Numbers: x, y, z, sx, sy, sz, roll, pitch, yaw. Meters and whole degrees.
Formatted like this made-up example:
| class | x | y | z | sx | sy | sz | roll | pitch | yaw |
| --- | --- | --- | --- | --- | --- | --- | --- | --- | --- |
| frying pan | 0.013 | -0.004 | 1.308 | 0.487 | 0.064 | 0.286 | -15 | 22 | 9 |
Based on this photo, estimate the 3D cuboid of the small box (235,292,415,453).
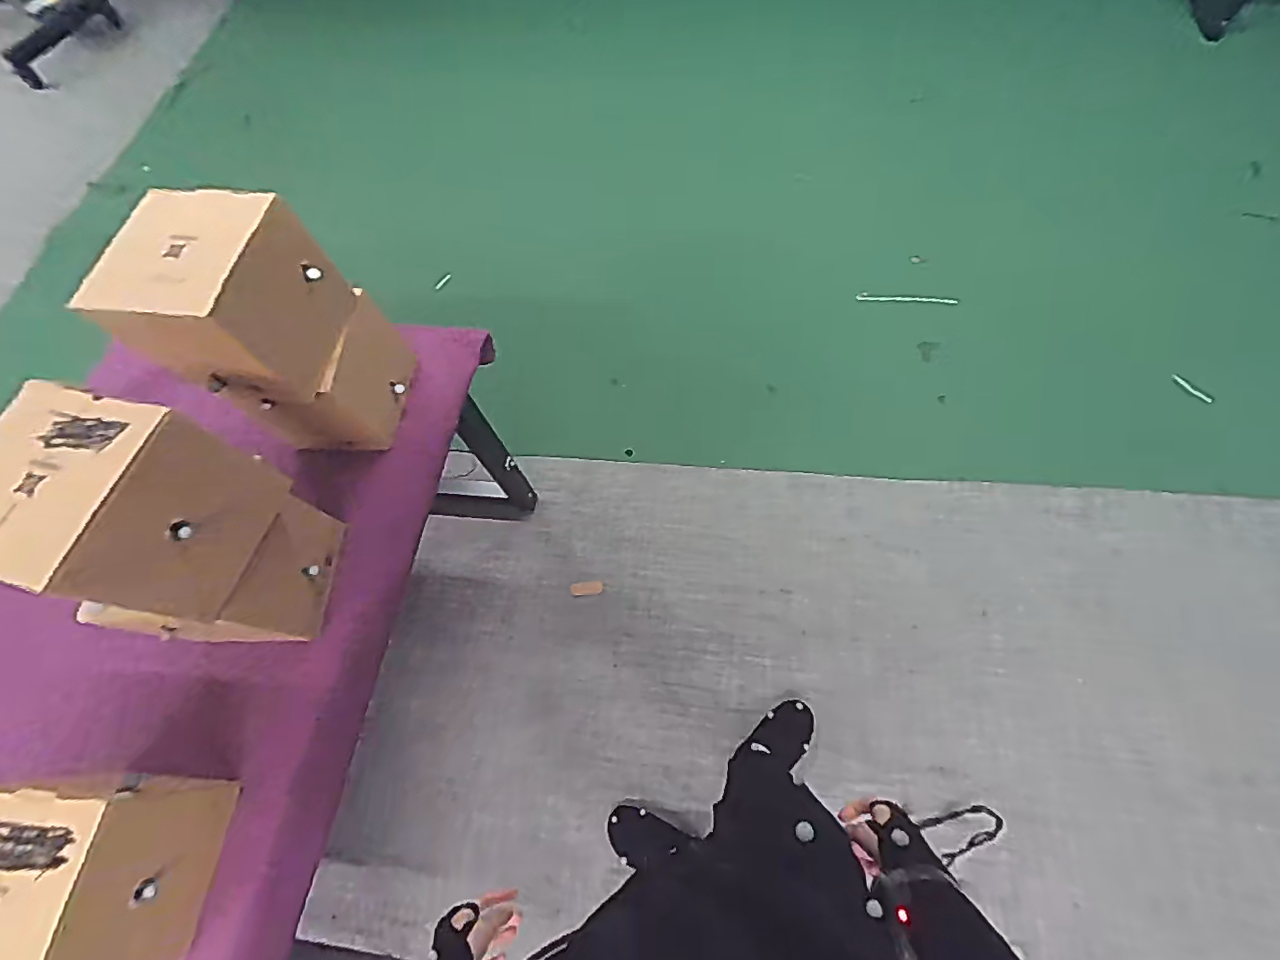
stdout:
| class | x | y | z | sx | sy | sz | roll | pitch | yaw |
| --- | --- | --- | --- | --- | --- | --- | --- | --- | --- |
| small box | -0.463 | -0.156 | 0.811 | 0.168 | 0.176 | 0.179 | 1 | 66 | 6 |

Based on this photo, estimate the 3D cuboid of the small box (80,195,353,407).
| class | x | y | z | sx | sy | sz | roll | pitch | yaw |
| --- | --- | --- | --- | --- | --- | --- | --- | --- | --- |
| small box | -0.487 | -0.212 | 0.658 | 0.168 | 0.176 | 0.179 | 6 | 68 | 8 |

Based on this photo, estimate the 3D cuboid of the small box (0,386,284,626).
| class | x | y | z | sx | sy | sz | roll | pitch | yaw |
| --- | --- | --- | --- | --- | --- | --- | --- | --- | --- |
| small box | -0.512 | 0.033 | 0.550 | 0.168 | 0.176 | 0.179 | 11 | 68 | 12 |

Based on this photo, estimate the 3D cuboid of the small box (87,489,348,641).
| class | x | y | z | sx | sy | sz | roll | pitch | yaw |
| --- | --- | --- | --- | --- | --- | --- | --- | --- | --- |
| small box | -0.520 | 0.113 | 0.696 | 0.179 | 0.176 | 0.168 | -2 | 66 | 6 |
